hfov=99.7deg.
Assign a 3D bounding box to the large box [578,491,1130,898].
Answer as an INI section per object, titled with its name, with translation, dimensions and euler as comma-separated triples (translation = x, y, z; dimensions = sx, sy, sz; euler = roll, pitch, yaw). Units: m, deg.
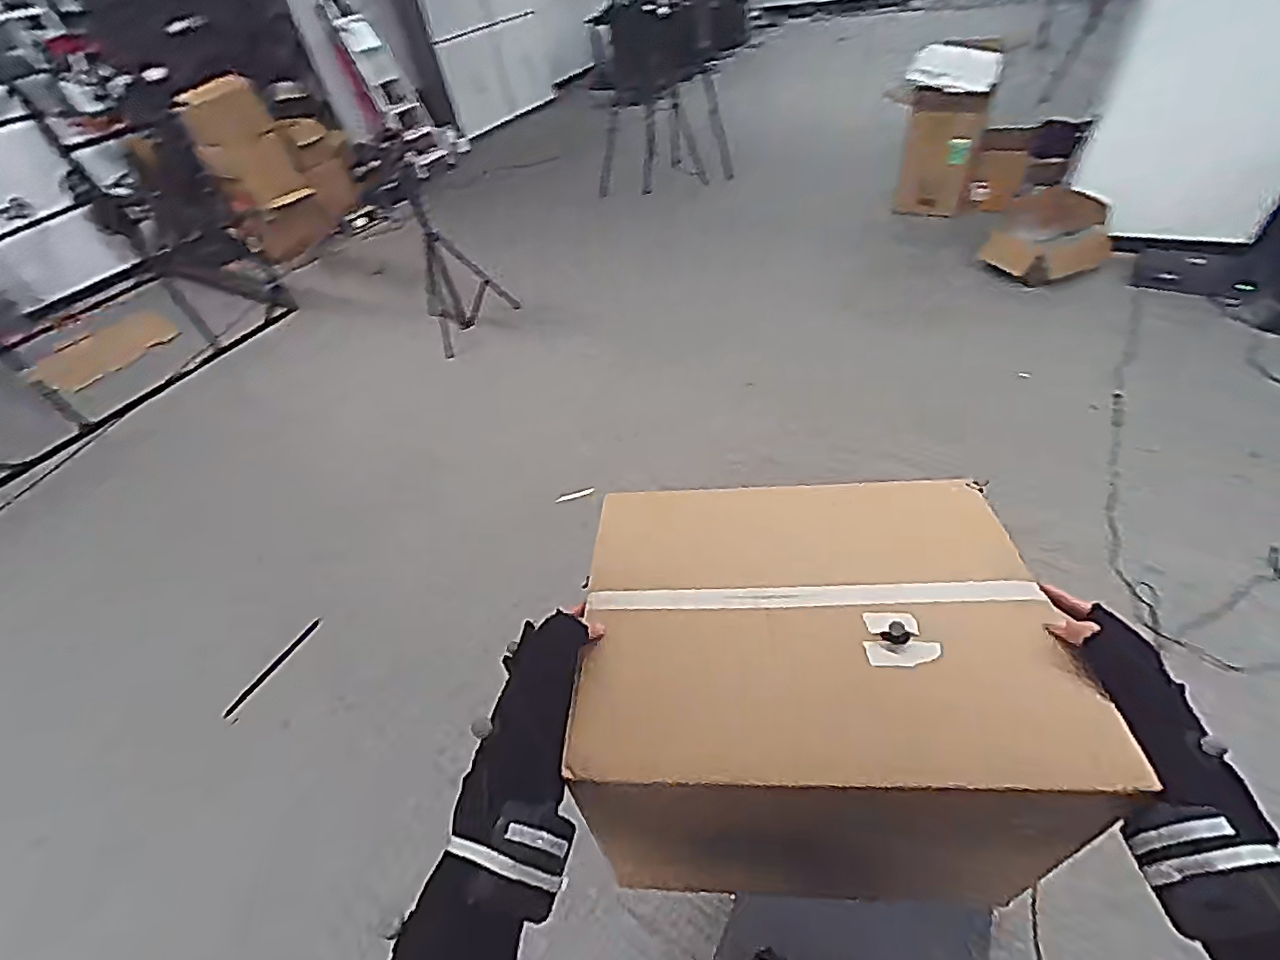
[large box]
translation = 0.169, 0.233, 0.602
dimensions = 0.408, 0.320, 0.320
euler = -2, 41, 7
